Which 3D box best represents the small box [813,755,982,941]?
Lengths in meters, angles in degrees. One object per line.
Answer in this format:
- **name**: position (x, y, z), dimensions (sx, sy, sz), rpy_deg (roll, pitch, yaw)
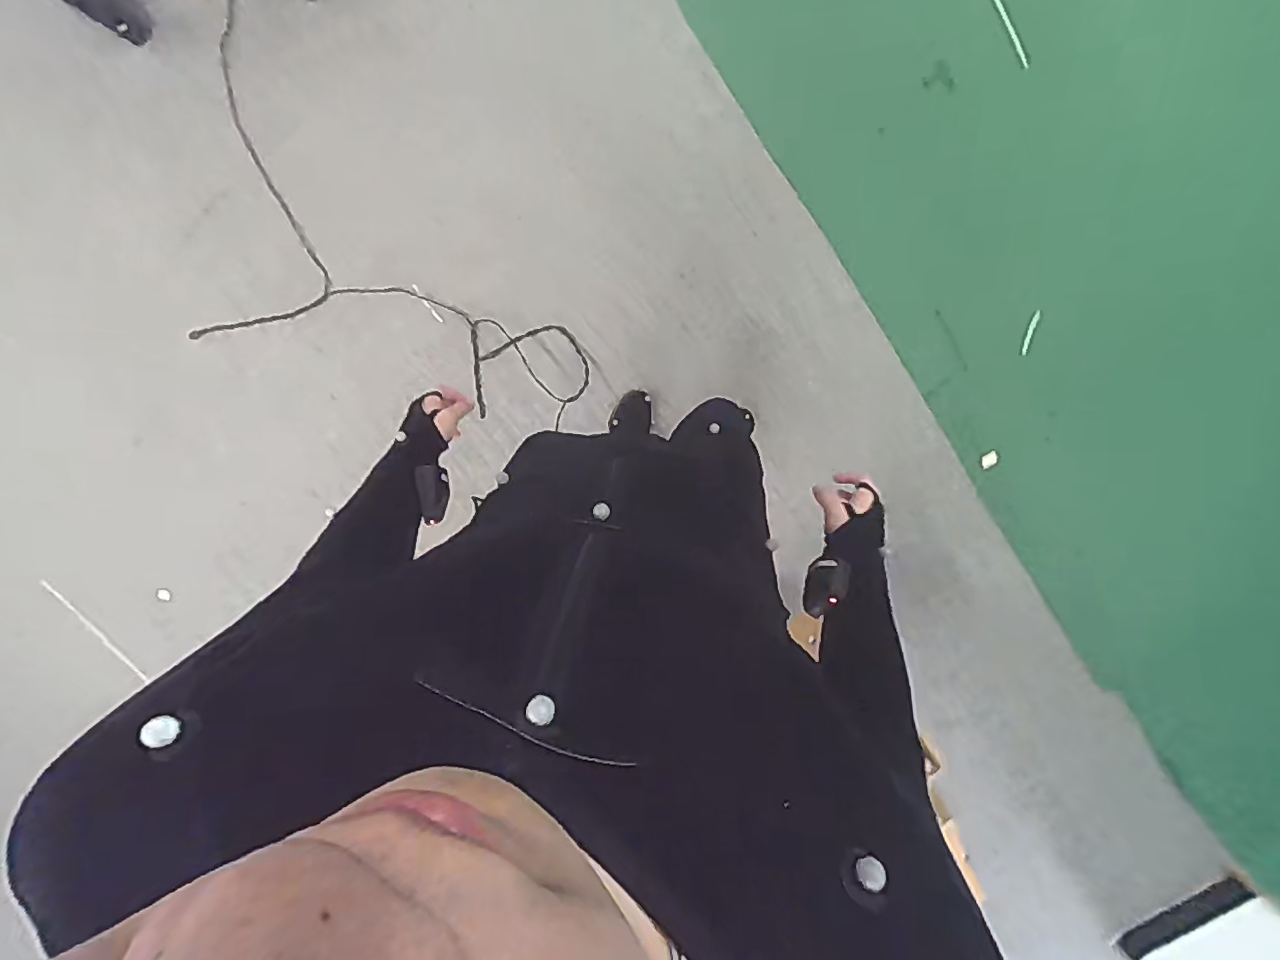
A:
- **small box**: position (0.418, 0.601, 0.905), dimensions (0.179, 0.176, 0.168), rpy_deg (-24, 100, 5)
